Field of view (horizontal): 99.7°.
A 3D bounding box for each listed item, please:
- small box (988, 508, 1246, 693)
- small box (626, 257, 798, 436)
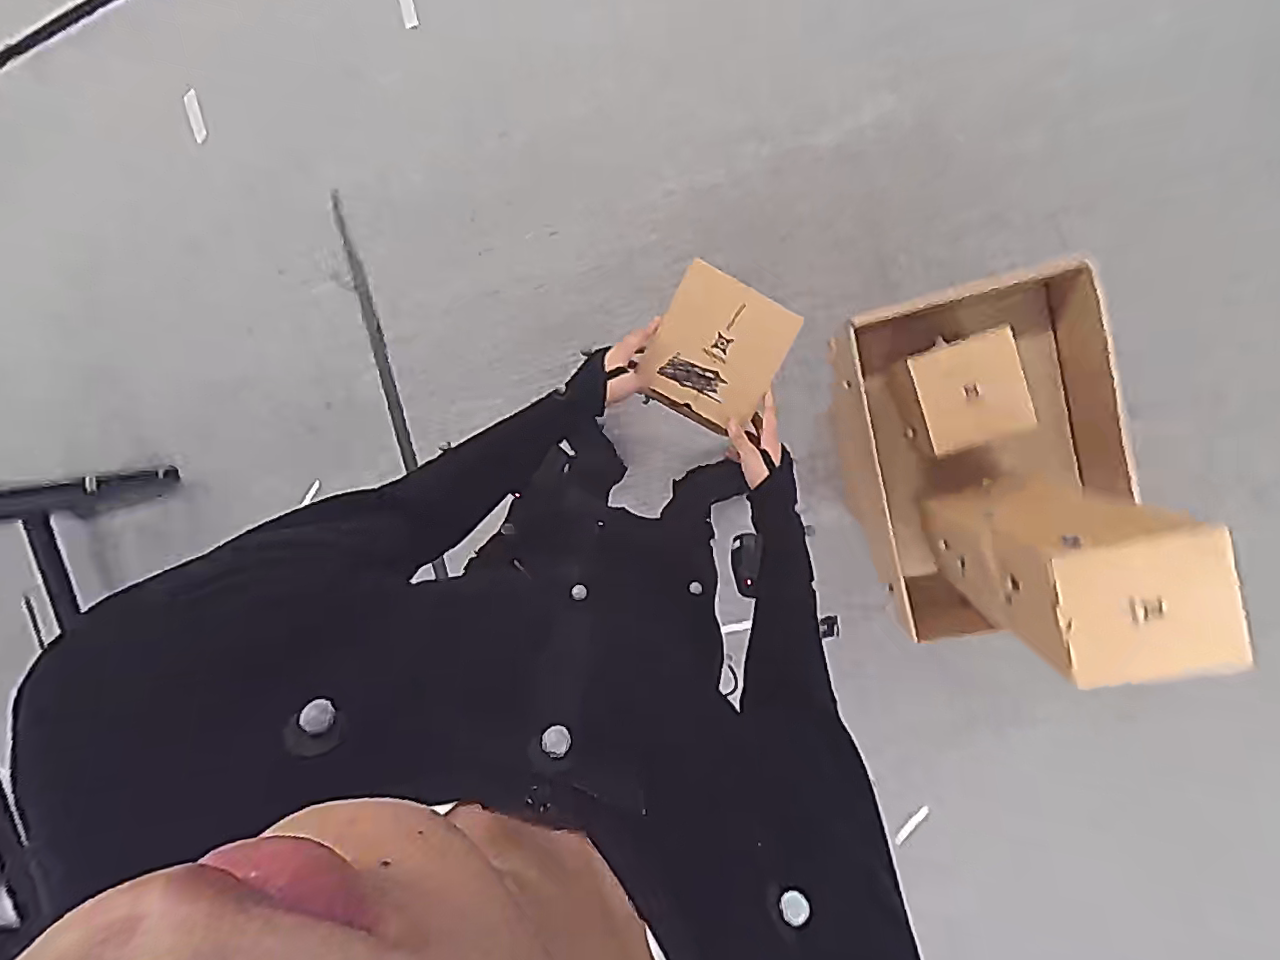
[{"bbox_3d":[0.583,0.142,0.685,0.179,0.176,0.168,-14,94,14],"label":"small box"},{"bbox_3d":[0.092,-0.176,0.770,0.168,0.176,0.179,27,94,-4],"label":"small box"}]
